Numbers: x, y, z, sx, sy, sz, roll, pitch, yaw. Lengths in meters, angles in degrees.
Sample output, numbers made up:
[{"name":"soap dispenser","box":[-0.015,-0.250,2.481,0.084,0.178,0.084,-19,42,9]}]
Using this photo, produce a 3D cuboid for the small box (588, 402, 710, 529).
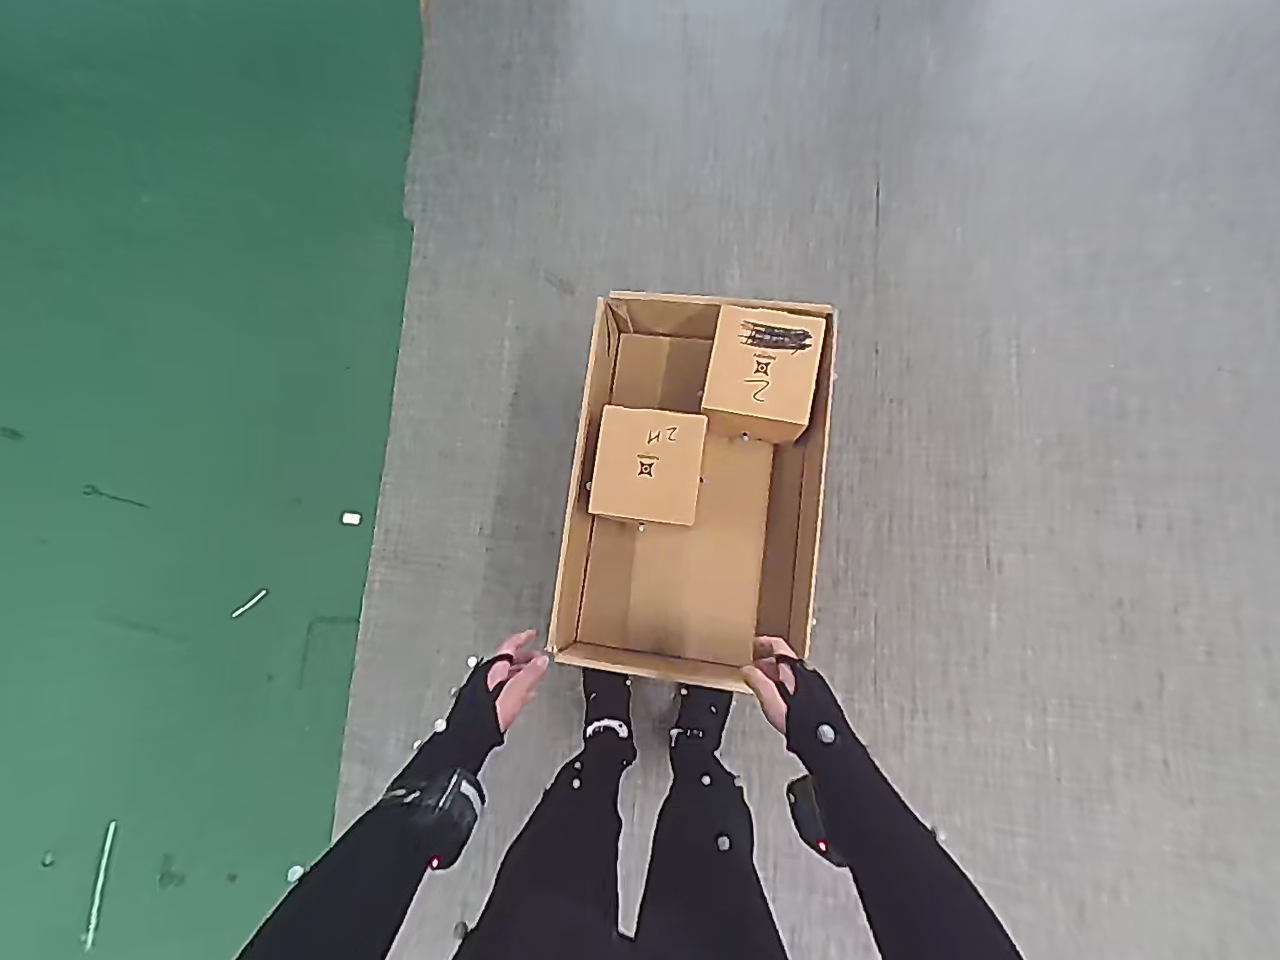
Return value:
[{"name":"small box","box":[0.023,-0.016,0.903,0.168,0.176,0.179,9,83,7]}]
